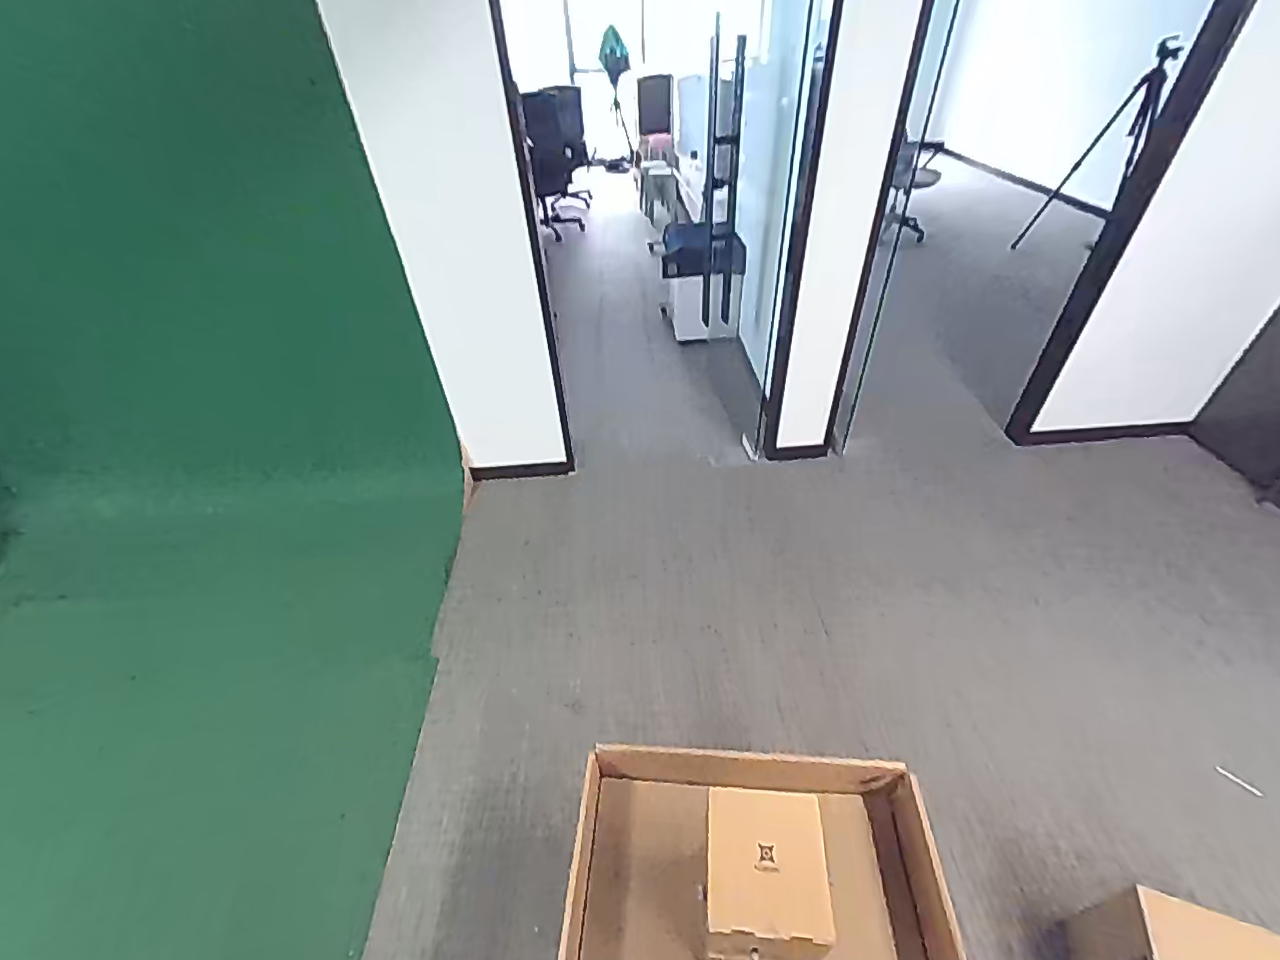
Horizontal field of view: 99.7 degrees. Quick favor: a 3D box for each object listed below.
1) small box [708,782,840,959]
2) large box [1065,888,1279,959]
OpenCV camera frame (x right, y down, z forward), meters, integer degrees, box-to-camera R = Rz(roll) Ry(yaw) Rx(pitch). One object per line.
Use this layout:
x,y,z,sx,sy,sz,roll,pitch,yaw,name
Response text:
0.187,0.584,0.810,0.168,0.176,0.179,1,42,6,small box
1.112,1.048,1.001,0.408,0.320,0.320,12,43,18,large box
